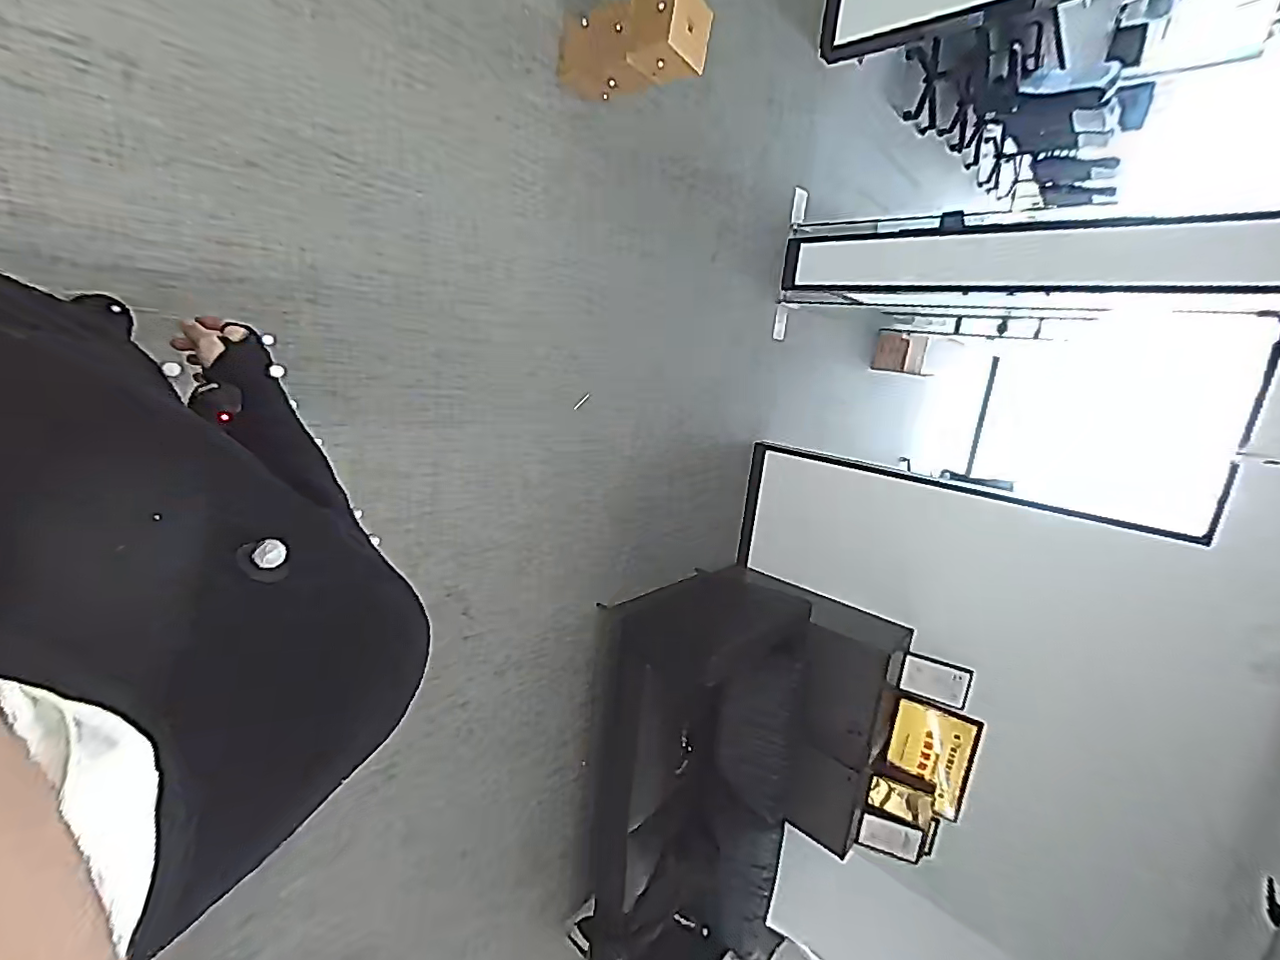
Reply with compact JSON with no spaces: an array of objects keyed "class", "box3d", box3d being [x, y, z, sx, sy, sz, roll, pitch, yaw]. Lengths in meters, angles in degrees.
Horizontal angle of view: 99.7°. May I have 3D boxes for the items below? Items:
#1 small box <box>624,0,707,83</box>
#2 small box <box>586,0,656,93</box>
[{"class":"small box","box3d":[0.071,-1.318,1.595,0.168,0.176,0.179,0,103,-49]},{"class":"small box","box3d":[-0.051,-1.357,1.694,0.168,0.176,0.179,-7,109,-48]}]
